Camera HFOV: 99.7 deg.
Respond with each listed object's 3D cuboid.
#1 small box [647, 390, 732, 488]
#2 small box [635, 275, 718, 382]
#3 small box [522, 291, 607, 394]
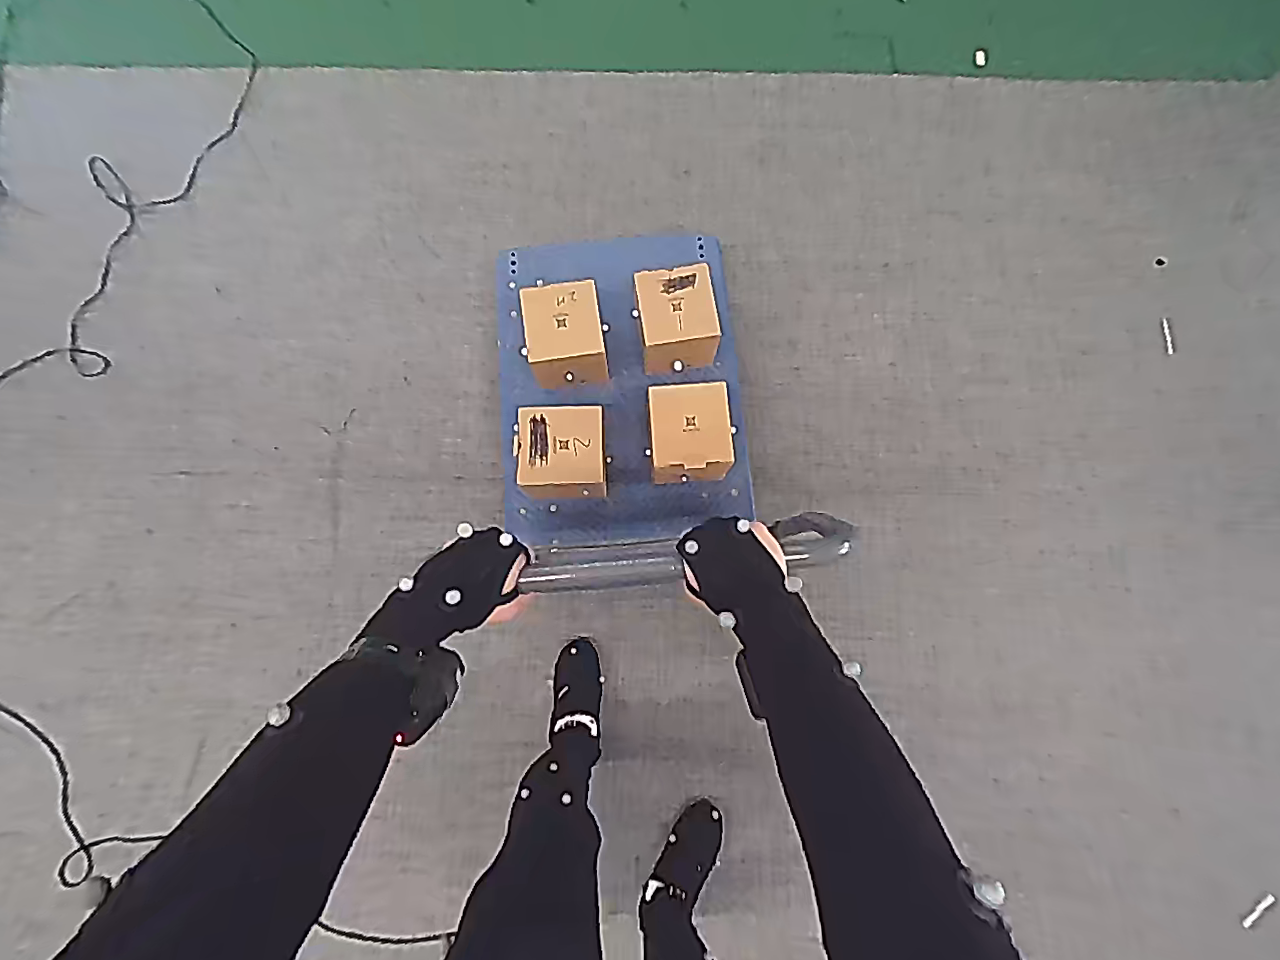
[{"bbox_3d":[0.104,-0.087,1.216,0.168,0.176,0.179,-4,78,-1],"label":"small box"},{"bbox_3d":[0.078,-0.351,1.271,0.168,0.176,0.179,-9,79,-1],"label":"small box"},{"bbox_3d":[-0.170,-0.311,1.263,0.168,0.176,0.179,-8,78,-2],"label":"small box"}]
